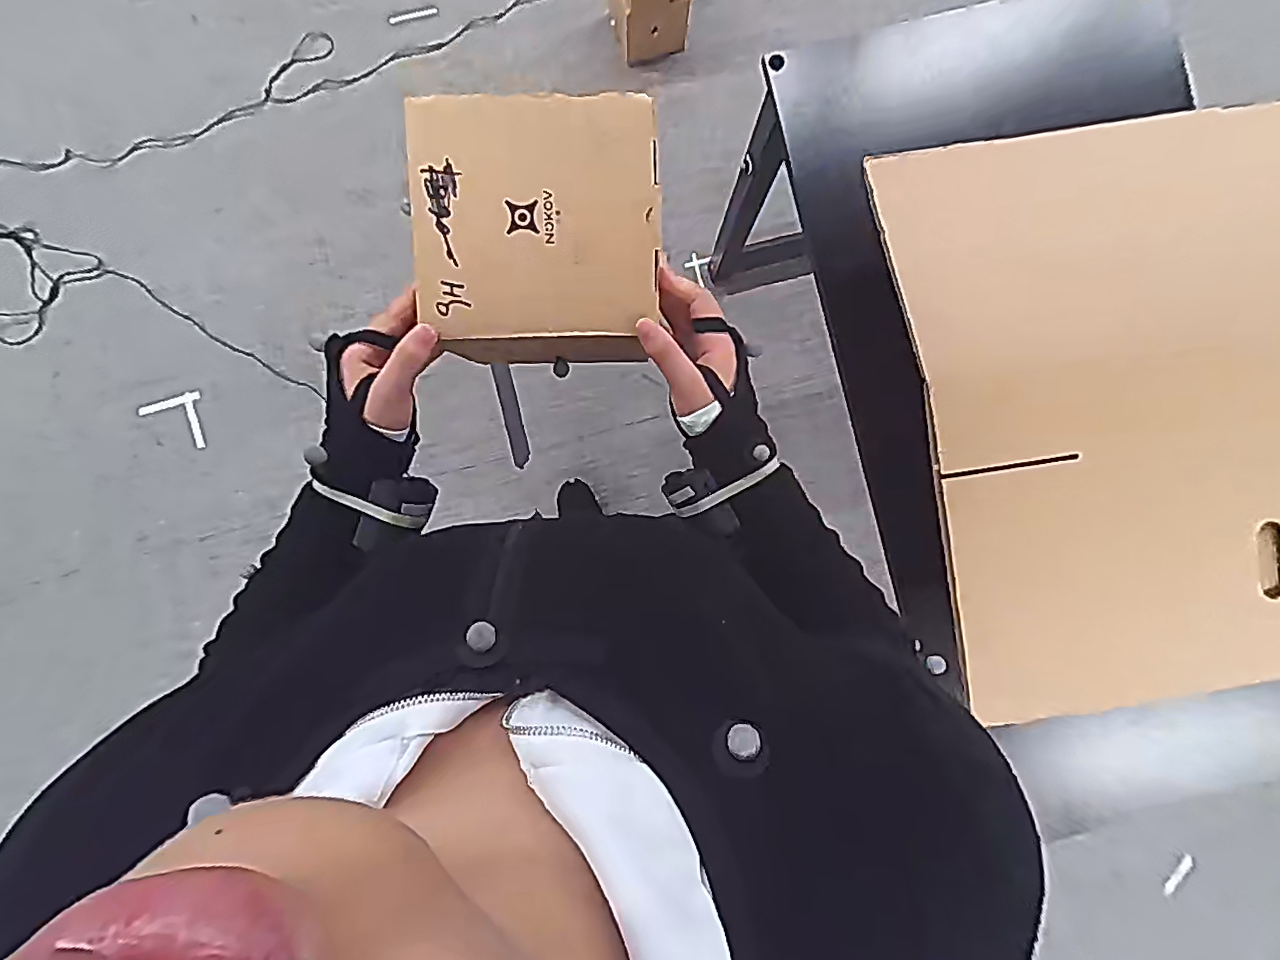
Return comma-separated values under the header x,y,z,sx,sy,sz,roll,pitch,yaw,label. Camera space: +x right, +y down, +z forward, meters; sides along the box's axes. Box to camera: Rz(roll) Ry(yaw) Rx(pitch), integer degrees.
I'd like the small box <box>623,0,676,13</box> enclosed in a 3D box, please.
x,y,z,sx,sy,sz,roll,pitch,yaw,label
0.024,-1.273,1.285,0.179,0.176,0.168,-21,90,-2,small box

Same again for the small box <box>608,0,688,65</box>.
x,y,z,sx,sy,sz,roll,pitch,yaw,label
0.015,-1.268,1.448,0.179,0.176,0.168,-18,89,-1,small box

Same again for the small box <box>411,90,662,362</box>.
x,y,z,sx,sy,sz,roll,pitch,yaw,label
-0.077,-0.197,0.466,0.179,0.176,0.168,-1,94,-3,small box
